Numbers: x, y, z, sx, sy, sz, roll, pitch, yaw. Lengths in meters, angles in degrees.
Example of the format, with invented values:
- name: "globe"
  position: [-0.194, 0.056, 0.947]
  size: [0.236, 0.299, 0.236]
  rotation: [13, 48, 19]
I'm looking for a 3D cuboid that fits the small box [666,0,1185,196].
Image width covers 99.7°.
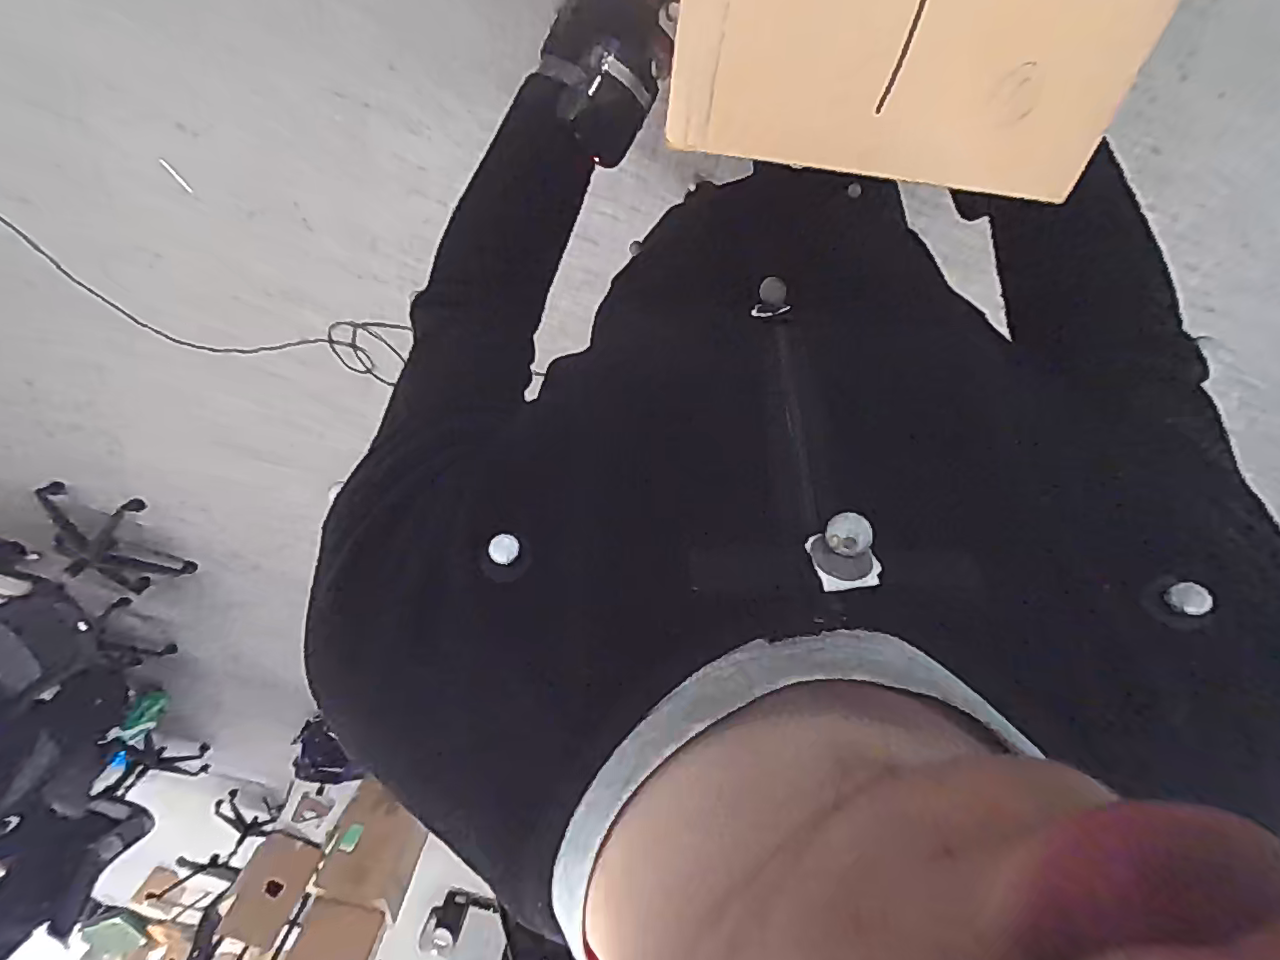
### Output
- name: "small box"
  position: [0.106, -0.240, 0.217]
  size: [0.168, 0.176, 0.179]
  rotation: [8, 131, 0]
